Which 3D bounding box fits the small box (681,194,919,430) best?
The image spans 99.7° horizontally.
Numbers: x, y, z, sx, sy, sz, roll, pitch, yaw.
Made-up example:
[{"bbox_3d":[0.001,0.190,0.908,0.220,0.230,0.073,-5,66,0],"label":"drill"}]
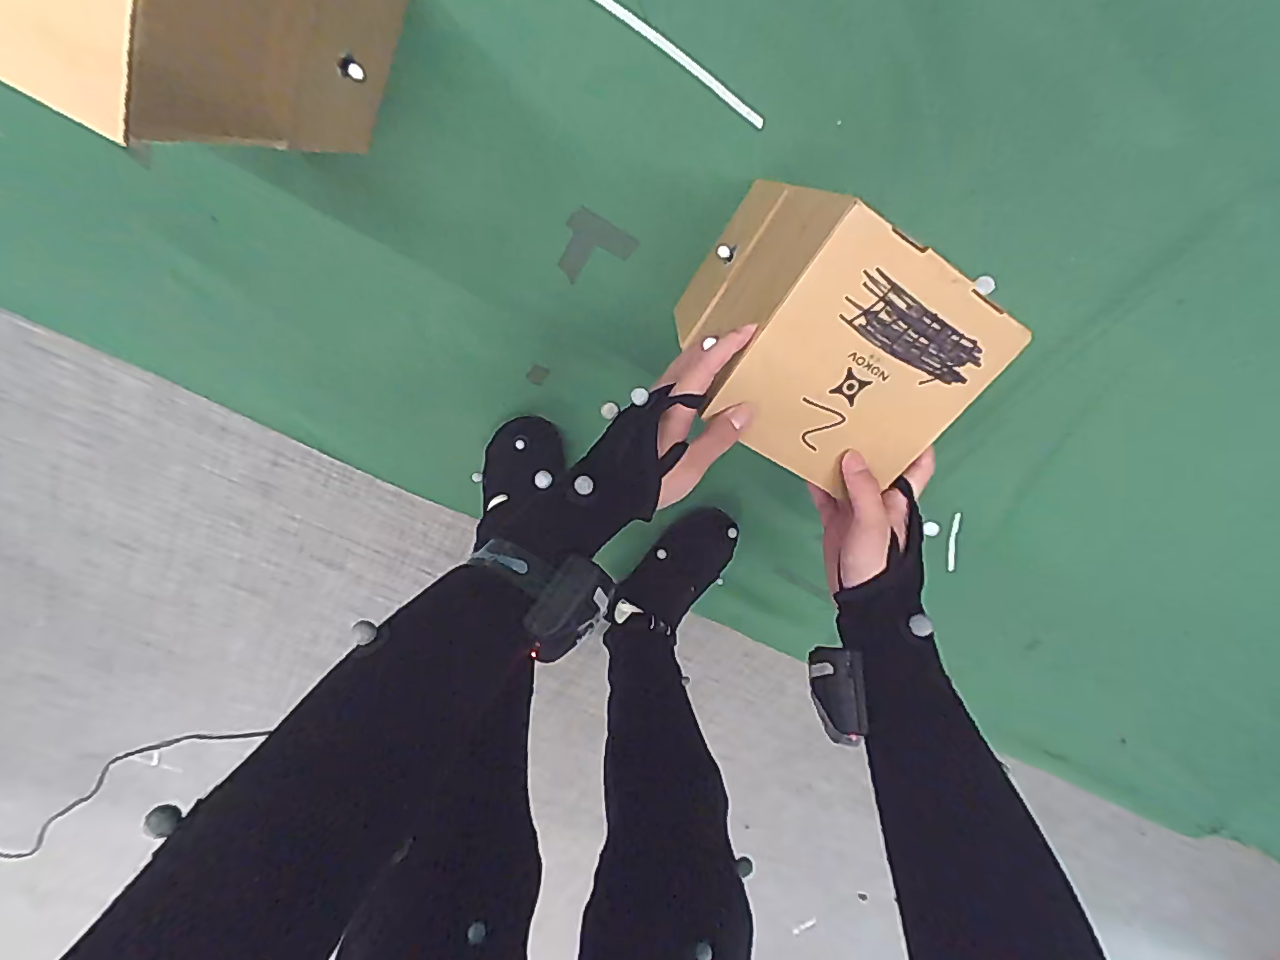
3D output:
[{"bbox_3d":[0.156,-0.194,0.602,0.168,0.176,0.179,28,117,-15],"label":"small box"}]
